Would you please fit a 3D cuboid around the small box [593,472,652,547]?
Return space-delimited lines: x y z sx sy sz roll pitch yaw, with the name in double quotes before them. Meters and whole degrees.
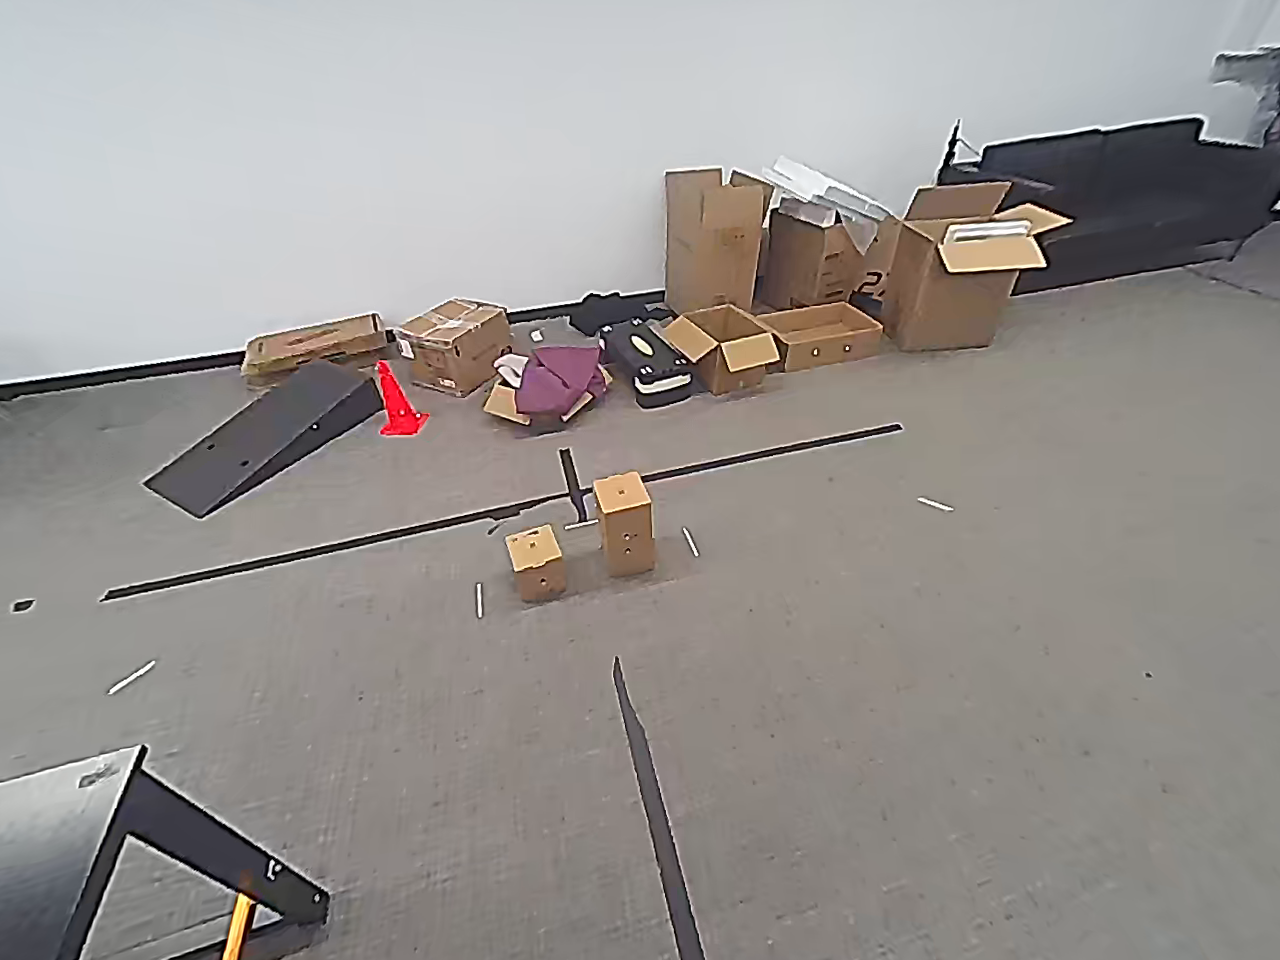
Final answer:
"small box" -0.061 0.103 1.876 0.168 0.176 0.179 -14 42 -11

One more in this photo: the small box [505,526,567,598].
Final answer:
"small box" -0.365 0.297 1.914 0.168 0.176 0.179 -16 42 -15

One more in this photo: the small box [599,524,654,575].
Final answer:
"small box" -0.049 0.227 1.980 0.179 0.176 0.168 -9 41 -9
